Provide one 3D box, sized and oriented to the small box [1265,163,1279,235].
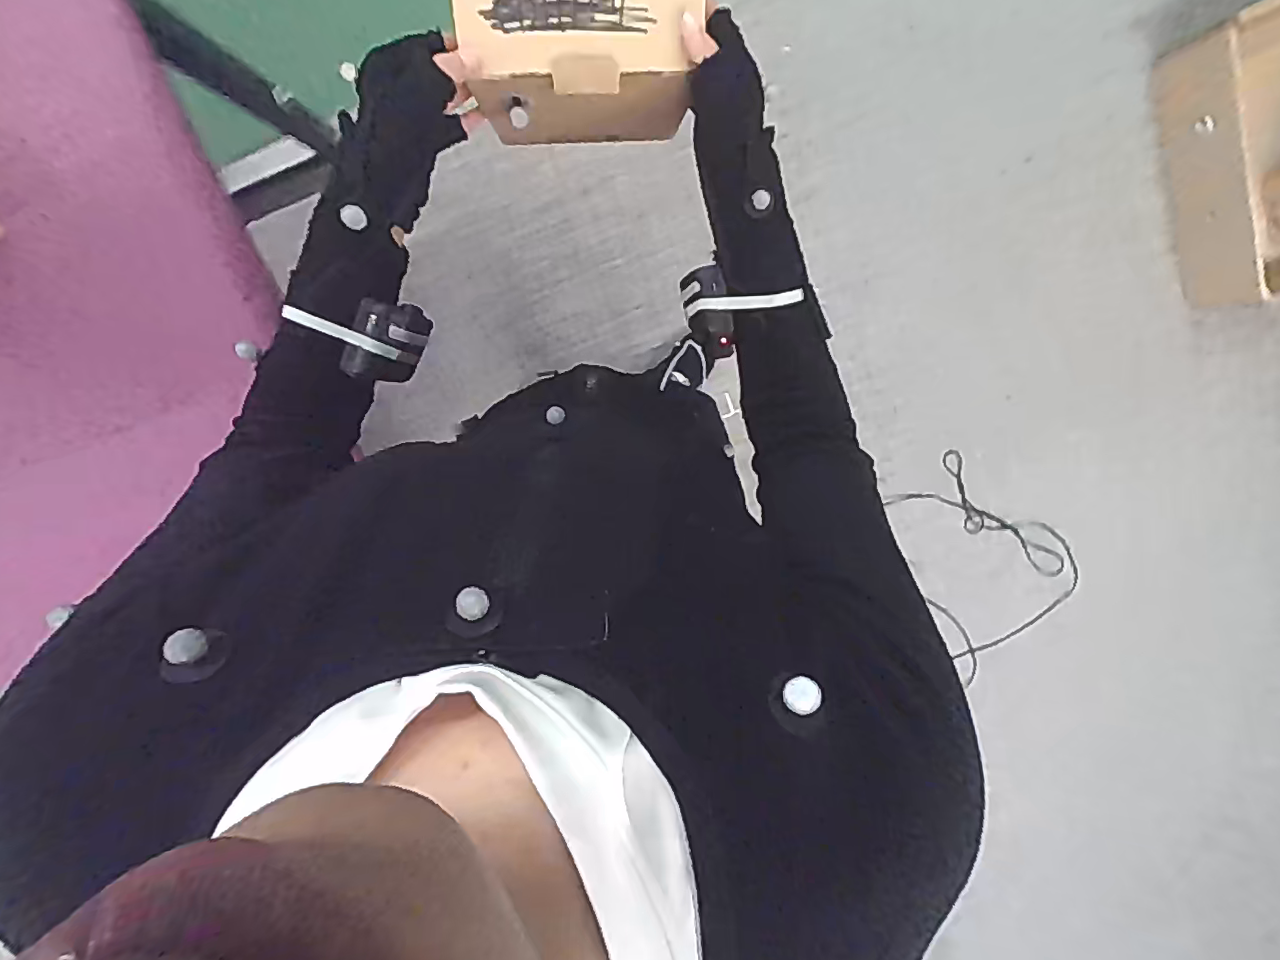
[{"bbox_3d":[1.615,-0.694,1.246,0.179,0.176,0.168,-28,102,4],"label":"small box"}]
